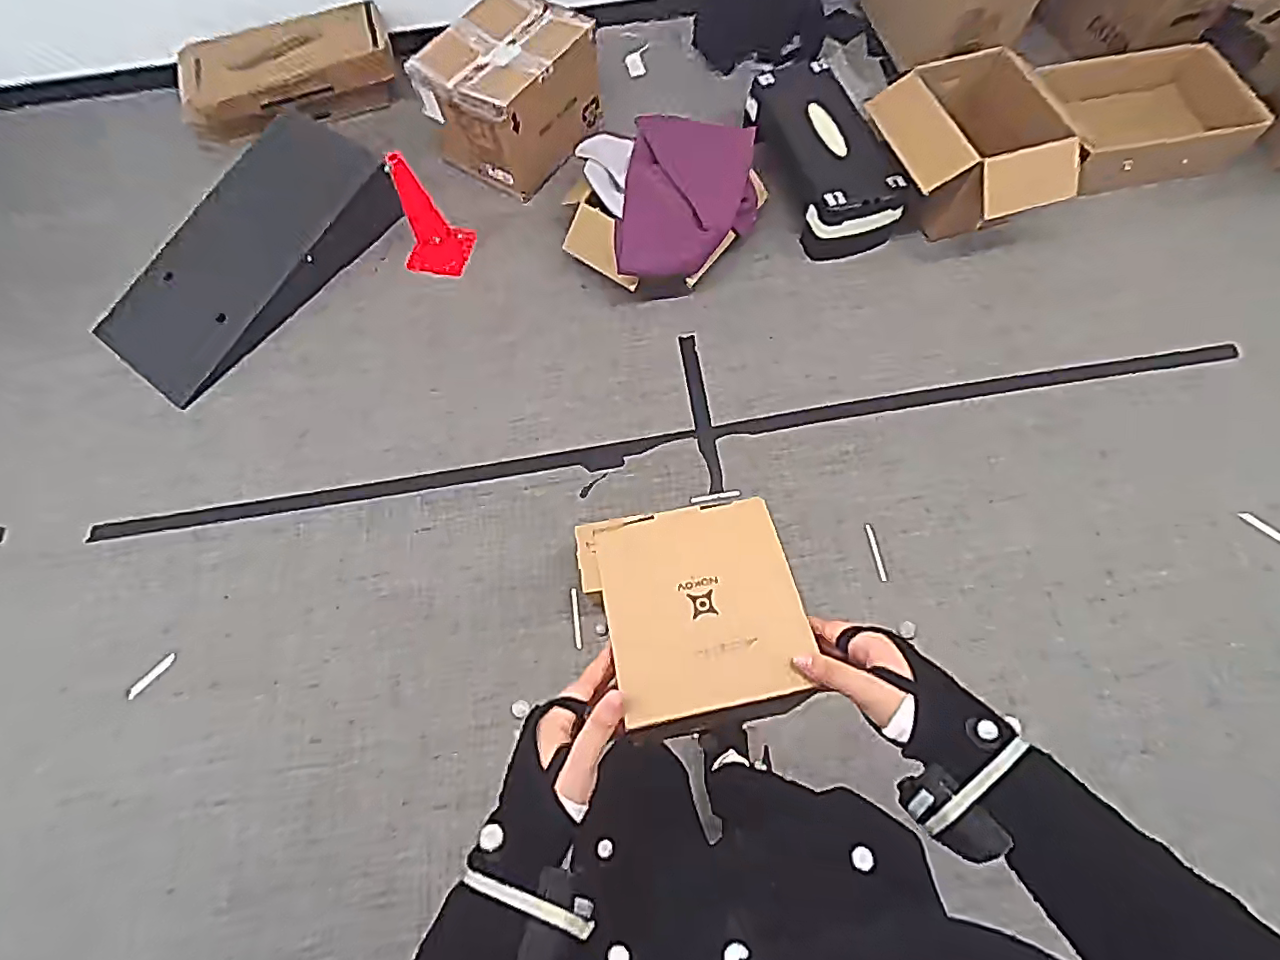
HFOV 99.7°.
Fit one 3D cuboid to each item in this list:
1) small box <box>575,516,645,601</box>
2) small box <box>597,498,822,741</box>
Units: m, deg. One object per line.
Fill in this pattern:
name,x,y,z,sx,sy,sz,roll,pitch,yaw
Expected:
small box,-0.058,0.200,1.357,0.179,0.176,0.168,-10,69,-1
small box,0.054,0.143,0.536,0.168,0.176,0.179,-10,60,-4
